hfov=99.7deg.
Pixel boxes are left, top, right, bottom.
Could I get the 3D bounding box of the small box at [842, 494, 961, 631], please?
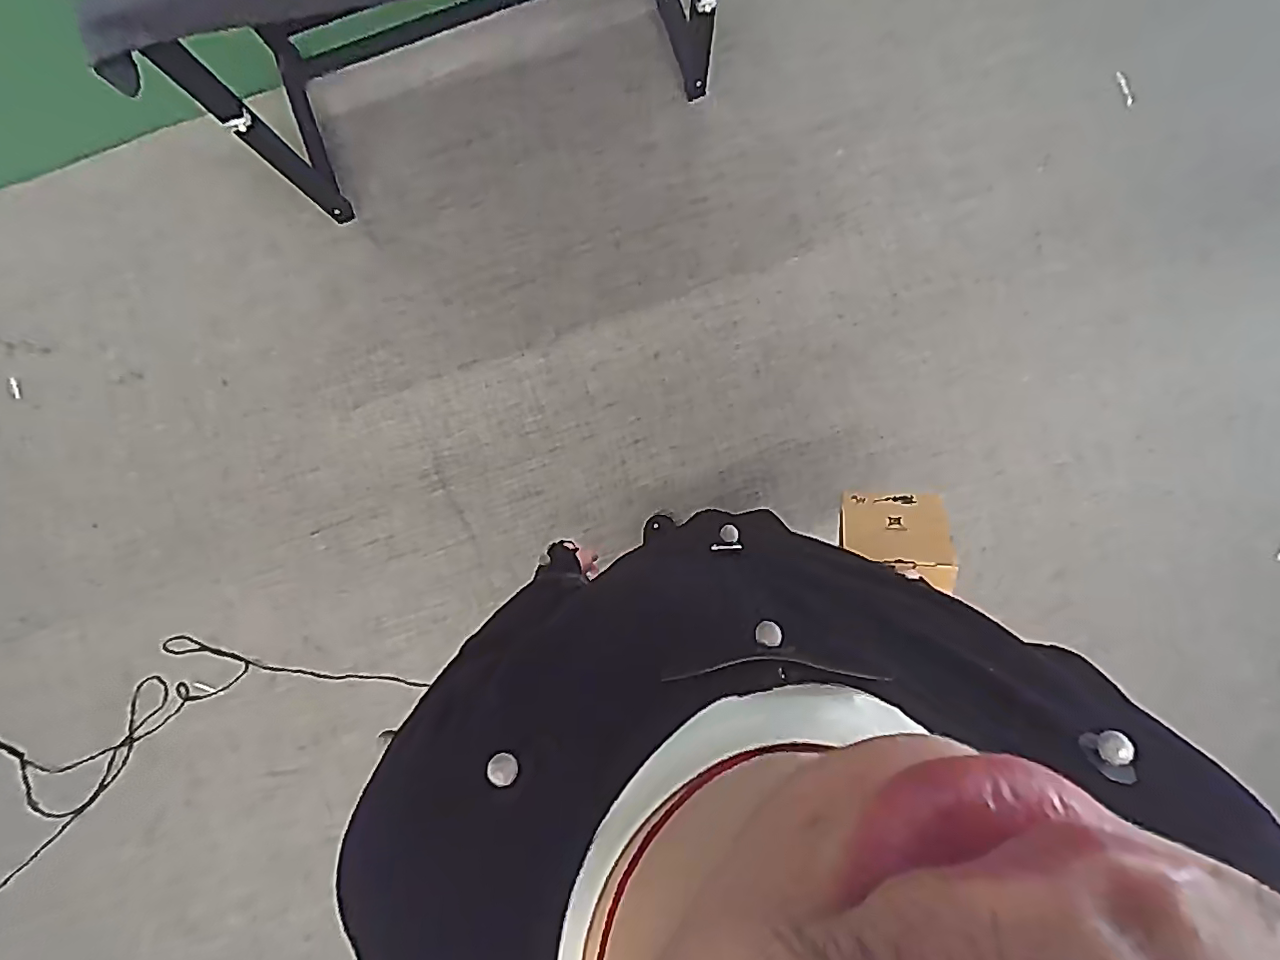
[{"bbox_3d":[0.448,0.145,0.950,0.168,0.179,0.176,-2,128,18],"label":"small box"}]
